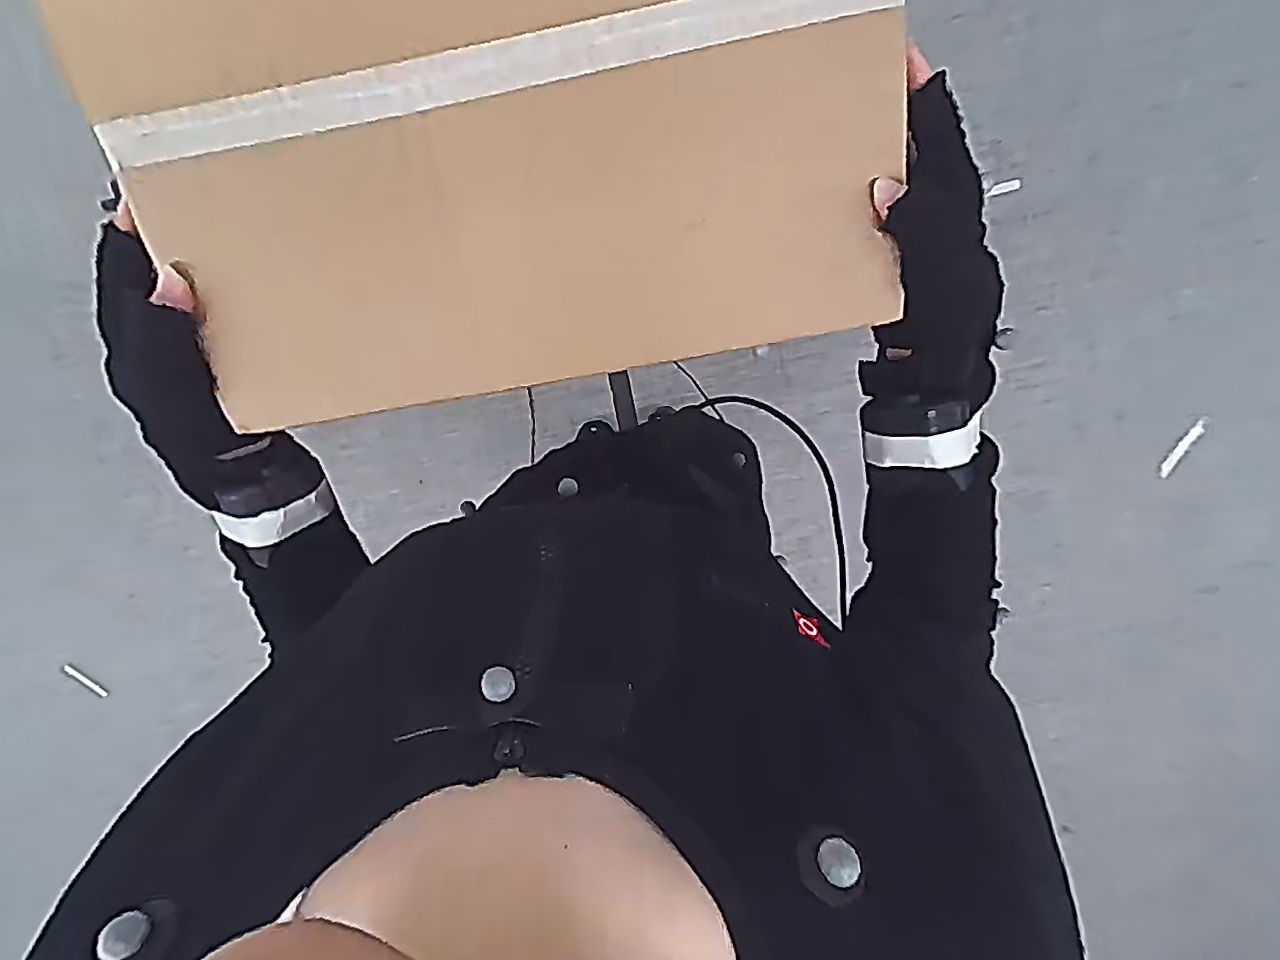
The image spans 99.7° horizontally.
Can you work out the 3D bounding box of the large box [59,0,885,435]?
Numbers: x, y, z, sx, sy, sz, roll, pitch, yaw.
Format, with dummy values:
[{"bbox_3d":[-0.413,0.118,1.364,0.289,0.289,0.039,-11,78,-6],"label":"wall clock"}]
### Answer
[{"bbox_3d":[-0.075,-0.256,0.418,0.408,0.320,0.320,-9,110,3],"label":"large box"}]
